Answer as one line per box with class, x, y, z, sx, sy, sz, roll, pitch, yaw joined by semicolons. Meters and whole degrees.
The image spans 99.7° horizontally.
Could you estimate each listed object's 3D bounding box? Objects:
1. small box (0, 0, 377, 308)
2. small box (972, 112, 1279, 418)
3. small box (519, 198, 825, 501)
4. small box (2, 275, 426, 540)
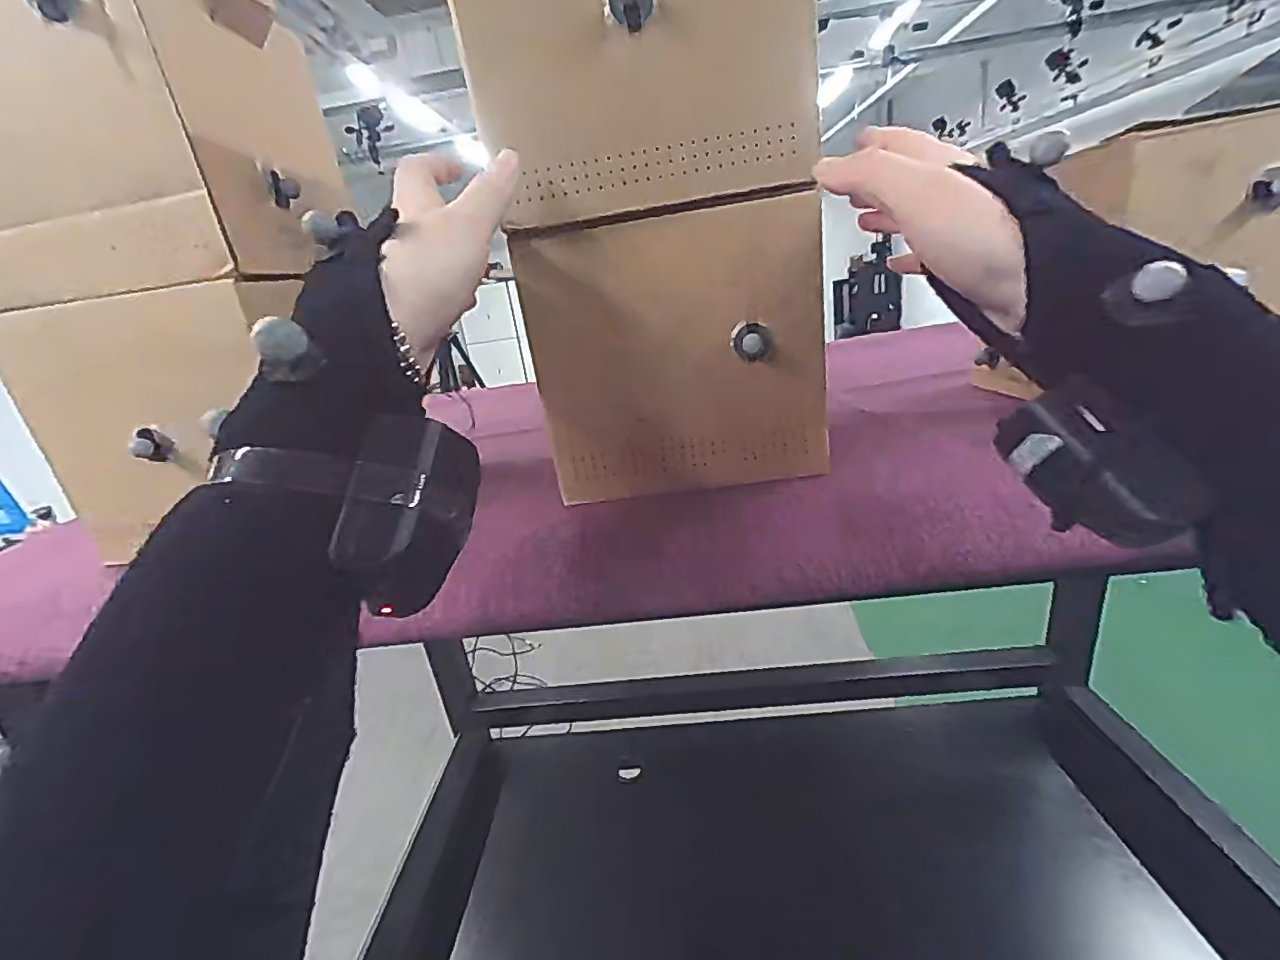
small box;-0.316;-0.211;0.367;0.179;0.176;0.168;-7;21;1
small box;0.374;-0.146;0.398;0.179;0.176;0.168;-6;17;6
small box;0.029;-0.096;0.405;0.179;0.176;0.168;-8;19;4
small box;-0.290;-0.060;0.423;0.168;0.176;0.179;-5;20;3
